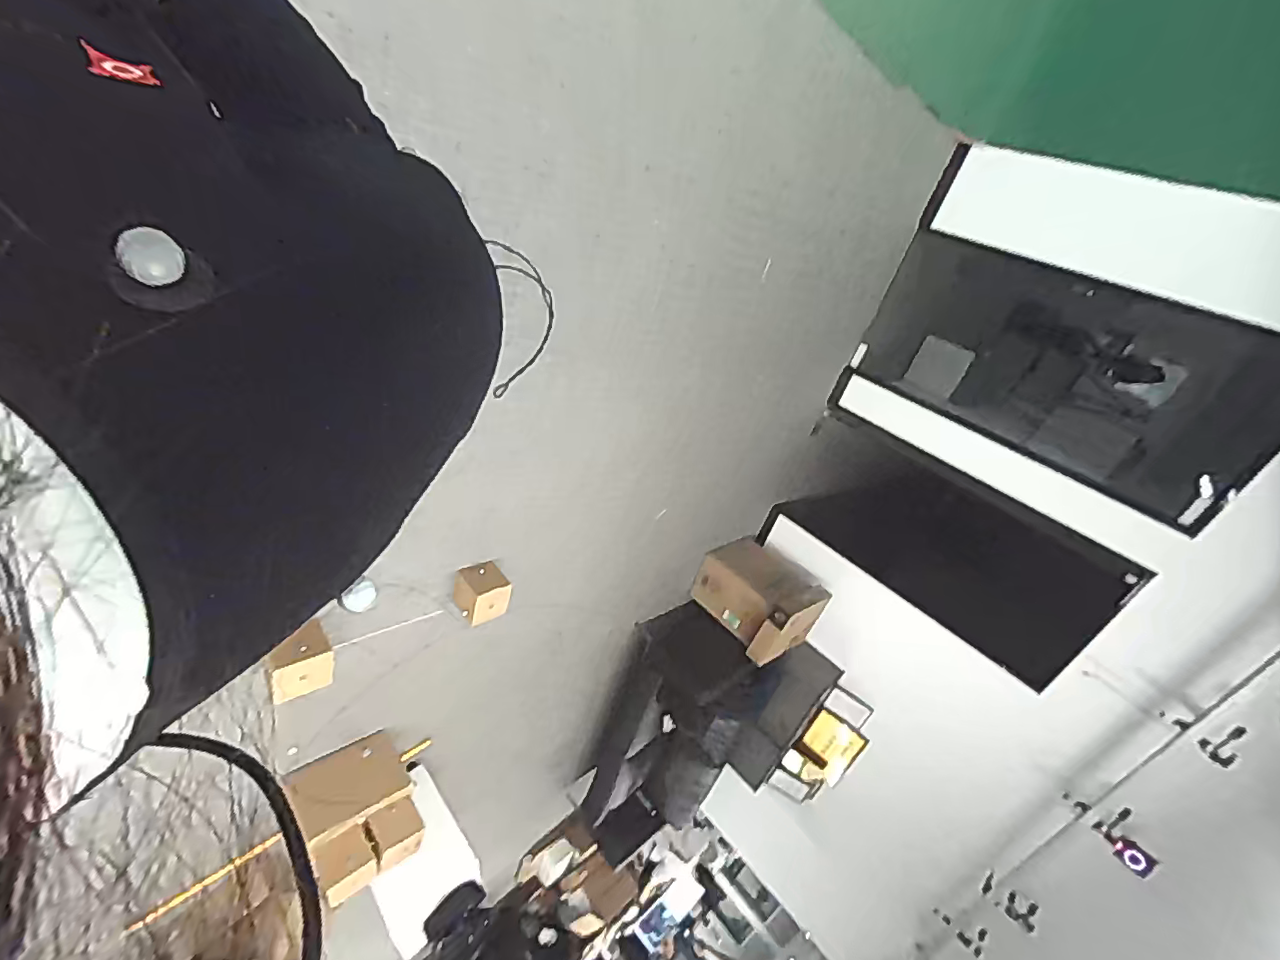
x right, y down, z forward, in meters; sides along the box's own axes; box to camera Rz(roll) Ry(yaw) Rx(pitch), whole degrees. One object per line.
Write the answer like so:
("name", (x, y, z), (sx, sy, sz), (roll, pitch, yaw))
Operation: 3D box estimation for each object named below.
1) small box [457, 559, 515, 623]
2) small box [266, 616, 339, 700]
("small box", (-0.657, 0.467, 2.288), (0.168, 0.176, 0.179), (-14, 132, -45))
("small box", (-1.135, 0.591, 1.813), (0.179, 0.176, 0.168), (-14, 132, -45))
